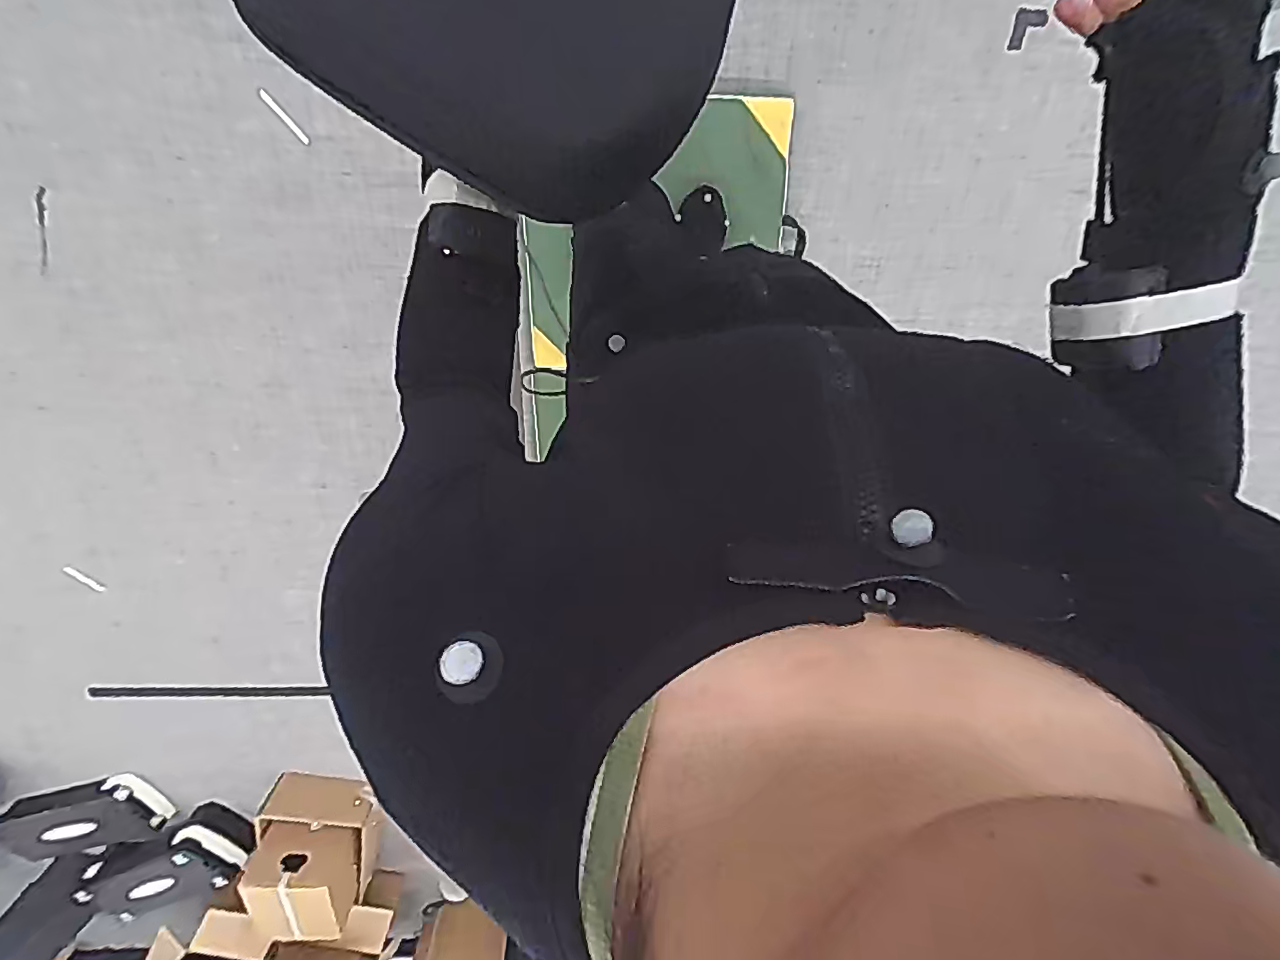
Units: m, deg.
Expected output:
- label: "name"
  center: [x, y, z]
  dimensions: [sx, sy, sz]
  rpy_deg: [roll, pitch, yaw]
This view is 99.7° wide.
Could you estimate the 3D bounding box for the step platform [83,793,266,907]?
- label: "step platform"
  center: [-2.004, 1.599, 2.330]
  dimensions: [0.684, 0.204, 0.286]
  rpy_deg: [-26, 117, 11]
